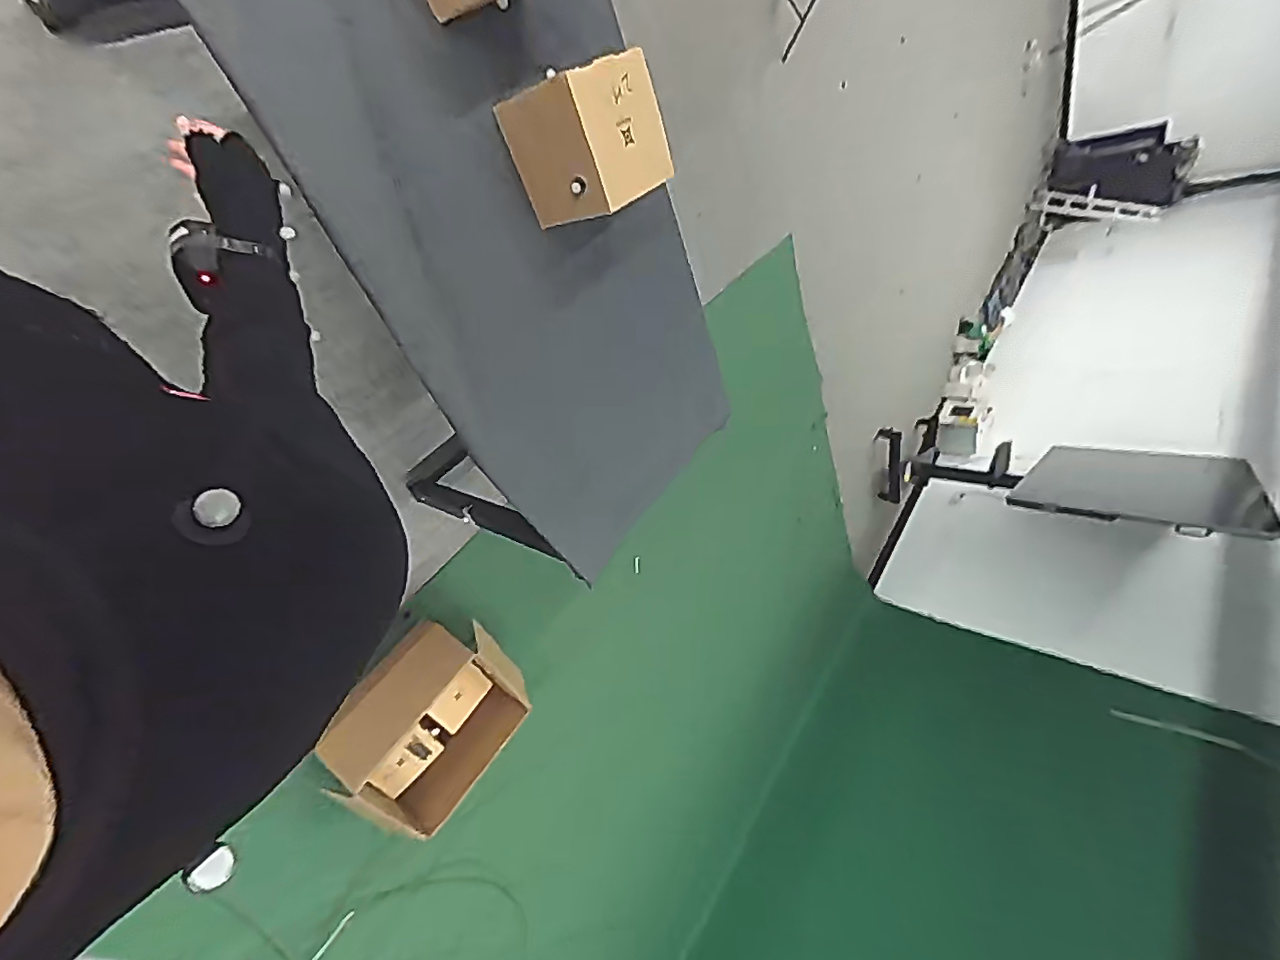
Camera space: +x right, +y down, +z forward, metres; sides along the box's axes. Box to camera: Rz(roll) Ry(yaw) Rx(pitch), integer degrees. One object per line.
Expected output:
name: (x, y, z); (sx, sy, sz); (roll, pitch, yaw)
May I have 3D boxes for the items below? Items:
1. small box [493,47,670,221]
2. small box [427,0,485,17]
small box: (-0.086, -0.513, 0.822); (0.168, 0.176, 0.179); (-46, 130, -31)
small box: (-0.200, -0.708, 0.645); (0.168, 0.176, 0.179); (-50, 133, -26)
